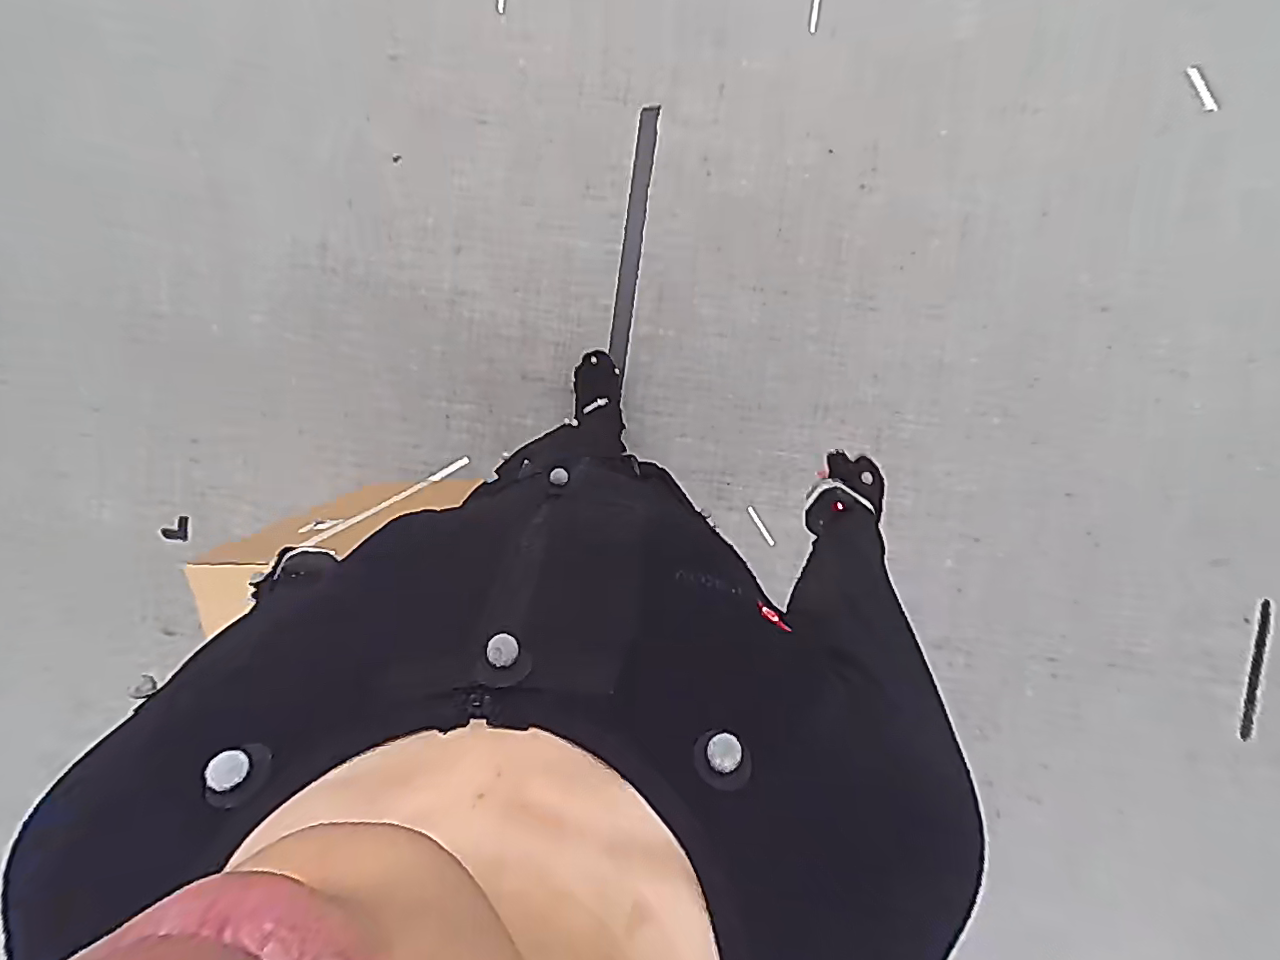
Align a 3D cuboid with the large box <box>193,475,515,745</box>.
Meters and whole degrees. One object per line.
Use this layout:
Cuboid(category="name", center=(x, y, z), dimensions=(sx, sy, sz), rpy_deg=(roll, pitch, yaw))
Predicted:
Cuboid(category="large box", center=(-0.451, 0.194, 0.968), dimensions=(0.320, 0.408, 0.320), rpy_deg=(-1, 106, 11))
